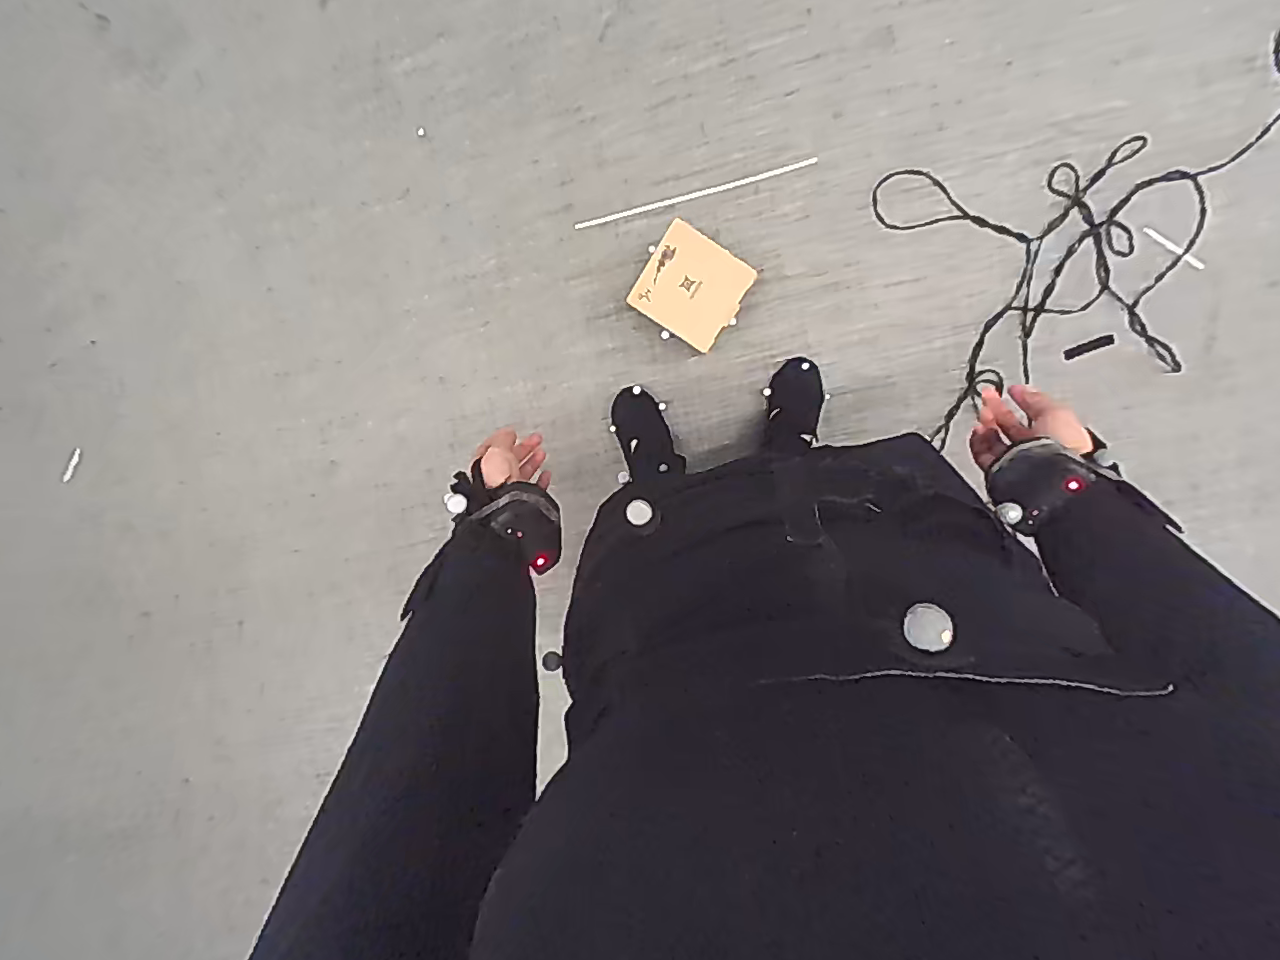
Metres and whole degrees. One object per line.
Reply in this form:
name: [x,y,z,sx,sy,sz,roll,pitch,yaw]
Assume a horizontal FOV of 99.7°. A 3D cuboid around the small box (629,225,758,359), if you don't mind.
small box: [0.100,-0.352,1.036,0.179,0.176,0.168,33,104,-4]
